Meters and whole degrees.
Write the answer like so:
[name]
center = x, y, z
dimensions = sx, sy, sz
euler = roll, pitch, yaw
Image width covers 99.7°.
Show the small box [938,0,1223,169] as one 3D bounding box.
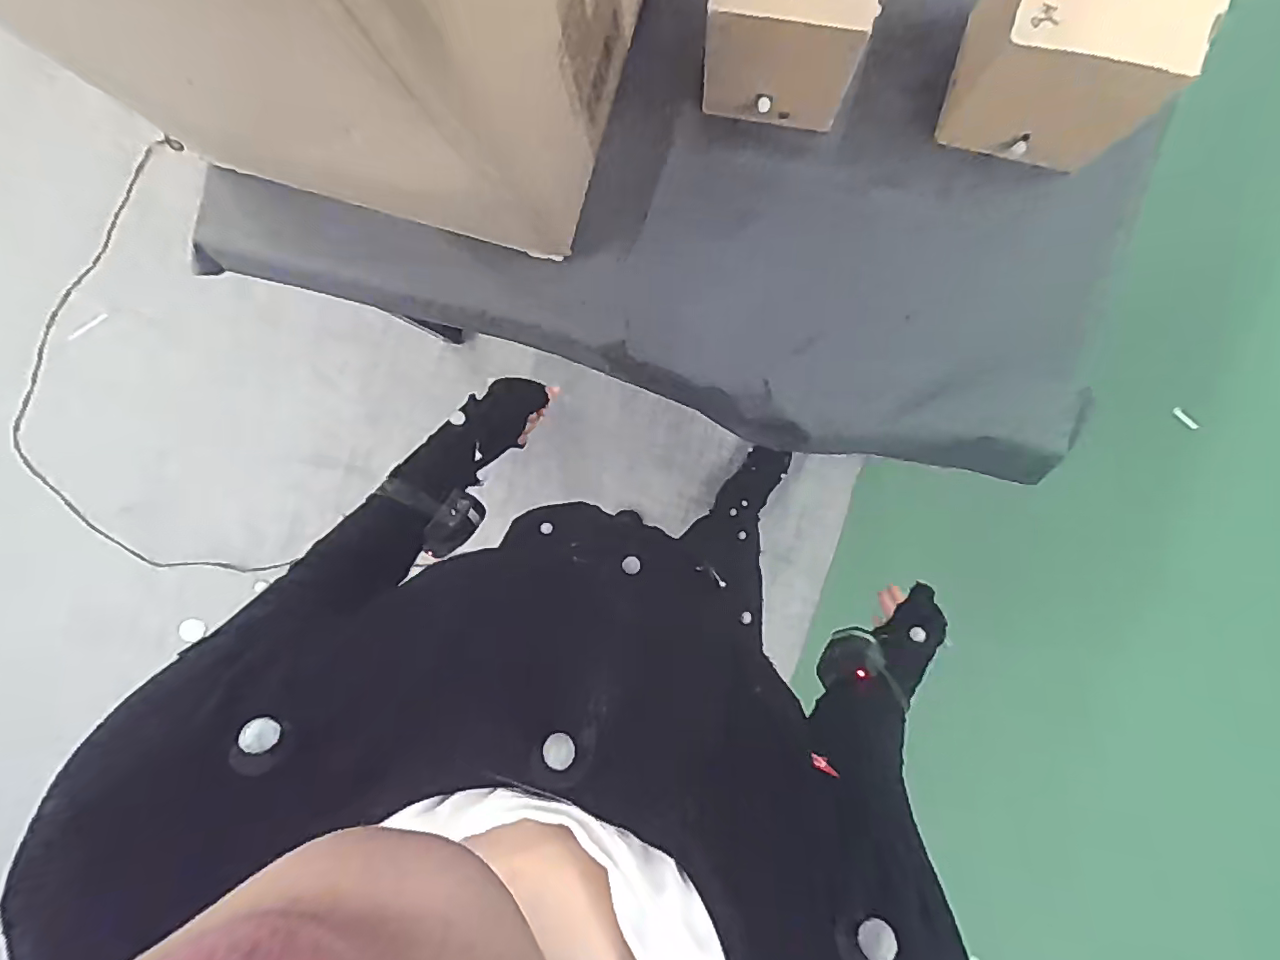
[small box]
center = 0.470, -0.476, 0.591
dimensions = 0.179, 0.176, 0.168
euler = 16, 93, 5
